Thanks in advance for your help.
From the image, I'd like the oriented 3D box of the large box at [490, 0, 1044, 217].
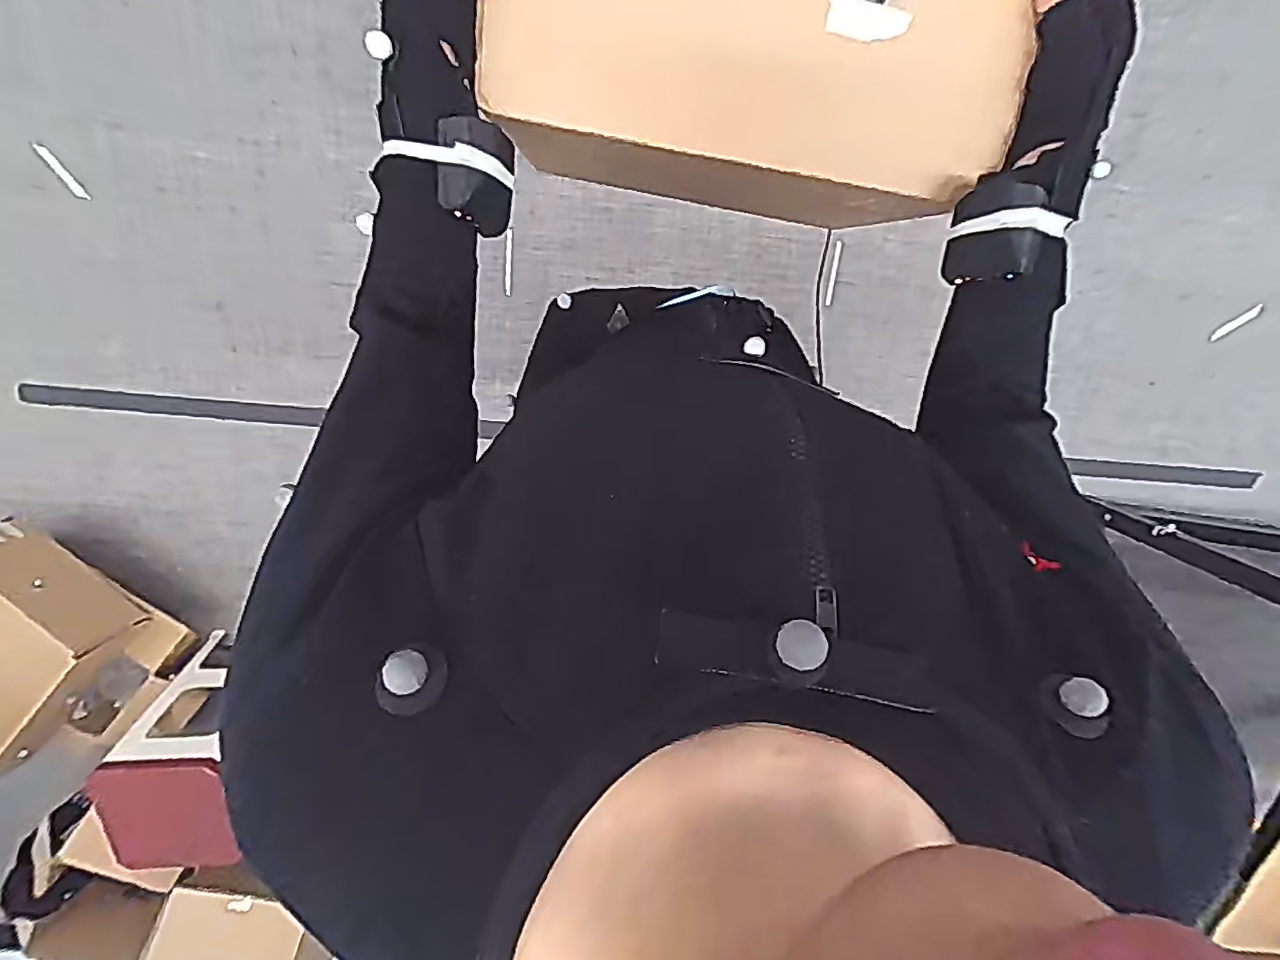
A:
[{"bbox_3d":[0.095,-0.453,0.504,0.408,0.320,0.320,7,113,-6],"label":"large box"}]
